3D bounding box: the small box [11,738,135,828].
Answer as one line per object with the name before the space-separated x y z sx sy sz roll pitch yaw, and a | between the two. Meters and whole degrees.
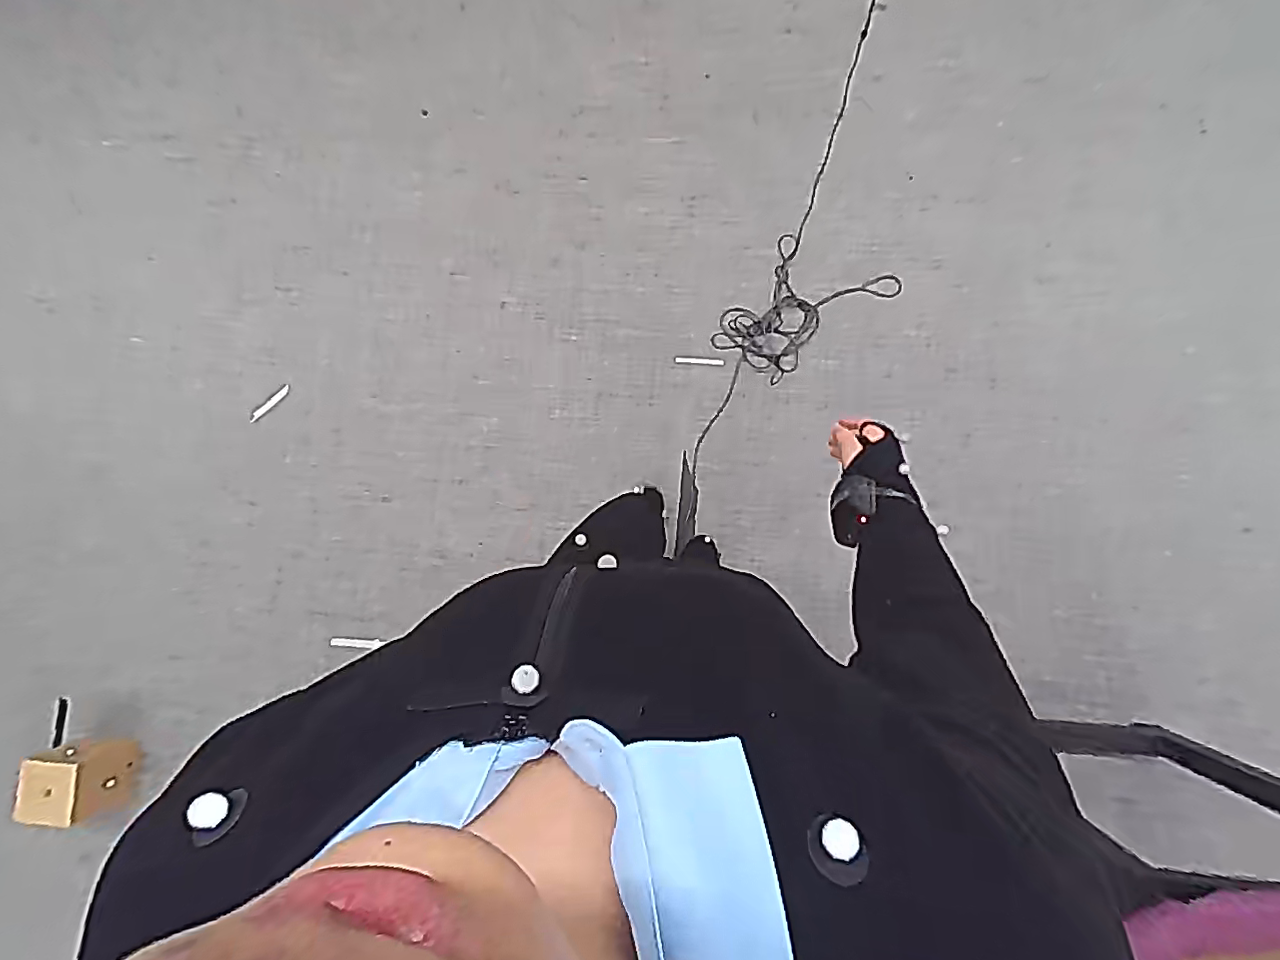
small box | -1.591 0.847 1.527 0.179 0.176 0.168 2 85 7
